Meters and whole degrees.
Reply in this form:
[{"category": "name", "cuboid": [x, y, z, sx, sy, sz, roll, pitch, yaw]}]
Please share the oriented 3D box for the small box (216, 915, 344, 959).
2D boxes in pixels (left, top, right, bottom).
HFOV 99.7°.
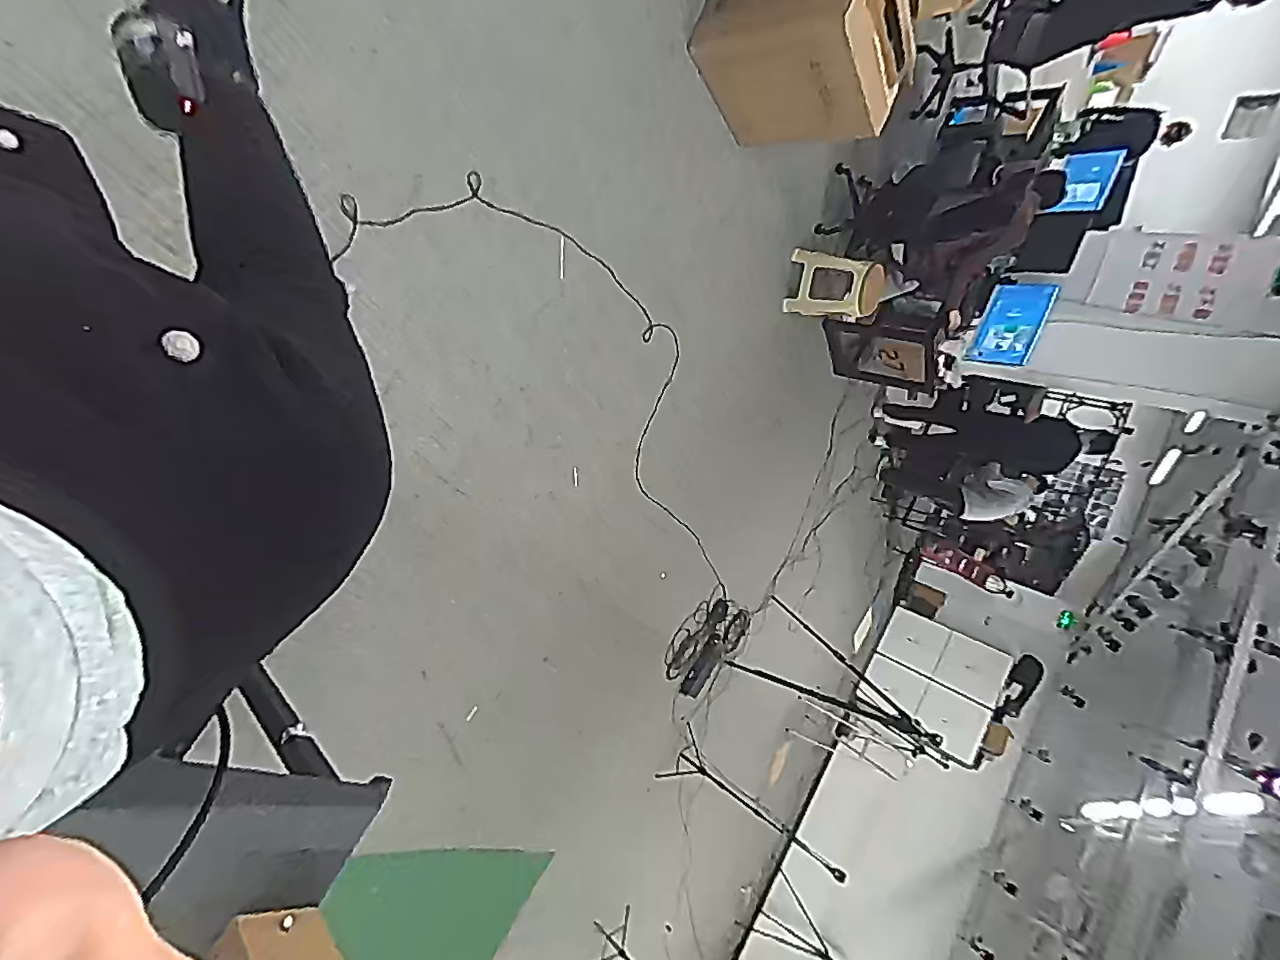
[{"category": "small box", "cuboid": [-0.653, 0.906, 0.940, 0.168, 0.176, 0.179, -57, 141, -15]}]
